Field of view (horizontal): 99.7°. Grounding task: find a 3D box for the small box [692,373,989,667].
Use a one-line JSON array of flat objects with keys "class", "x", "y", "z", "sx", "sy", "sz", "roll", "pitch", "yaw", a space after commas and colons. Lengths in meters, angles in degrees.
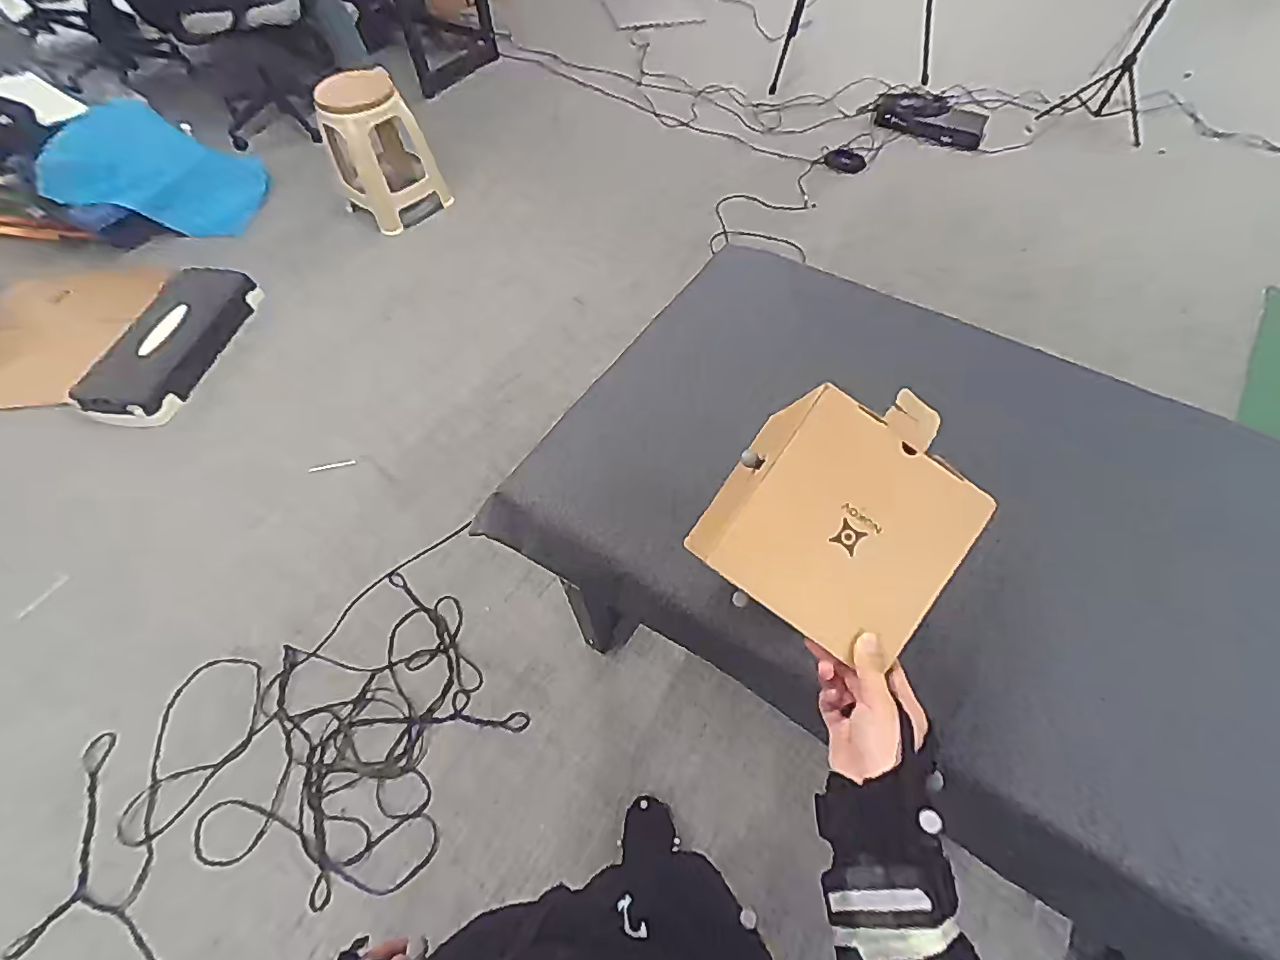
[{"class": "small box", "x": 0.161, "y": 0.036, "z": 0.502, "sx": 0.168, "sy": 0.176, "sz": 0.179, "roll": 35, "pitch": 85, "yaw": 2}]
